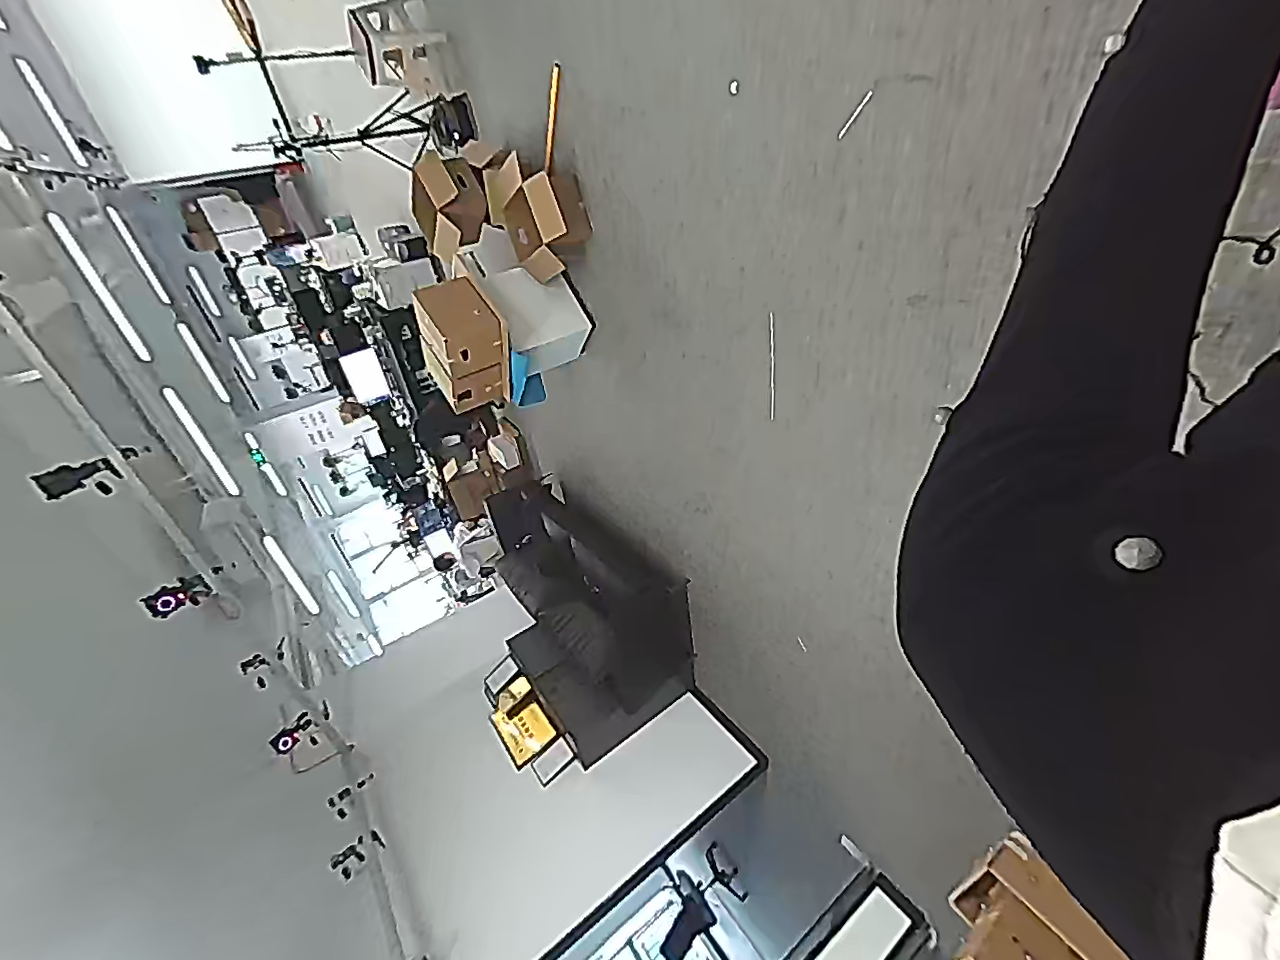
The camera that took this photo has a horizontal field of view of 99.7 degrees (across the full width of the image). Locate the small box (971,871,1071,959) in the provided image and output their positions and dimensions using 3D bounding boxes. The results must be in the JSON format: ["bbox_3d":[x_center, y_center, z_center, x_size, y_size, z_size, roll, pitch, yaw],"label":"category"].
[{"bbox_3d":[1.170,1.353,1.659,0.168,0.176,0.179,41,146,36],"label":"small box"}]

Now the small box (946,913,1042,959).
[{"bbox_3d":[1.044,1.423,1.583,0.168,0.176,0.179,41,146,36],"label":"small box"}]
